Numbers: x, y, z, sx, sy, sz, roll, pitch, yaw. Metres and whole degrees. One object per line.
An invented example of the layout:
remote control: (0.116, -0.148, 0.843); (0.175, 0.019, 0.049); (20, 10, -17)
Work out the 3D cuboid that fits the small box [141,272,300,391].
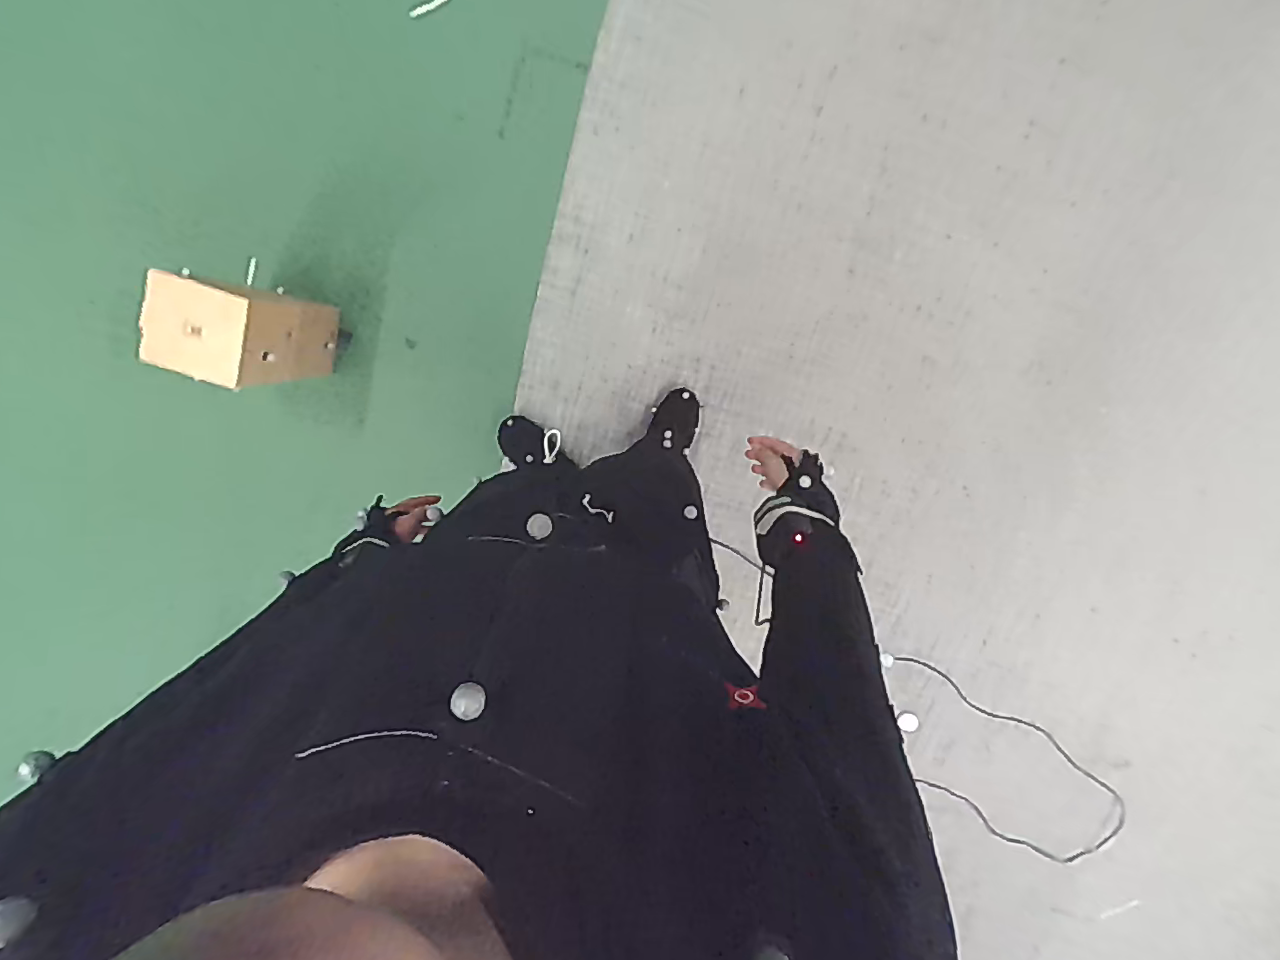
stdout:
small box: (-0.794, -0.283, 1.038); (0.179, 0.176, 0.168); (17, 104, -4)
